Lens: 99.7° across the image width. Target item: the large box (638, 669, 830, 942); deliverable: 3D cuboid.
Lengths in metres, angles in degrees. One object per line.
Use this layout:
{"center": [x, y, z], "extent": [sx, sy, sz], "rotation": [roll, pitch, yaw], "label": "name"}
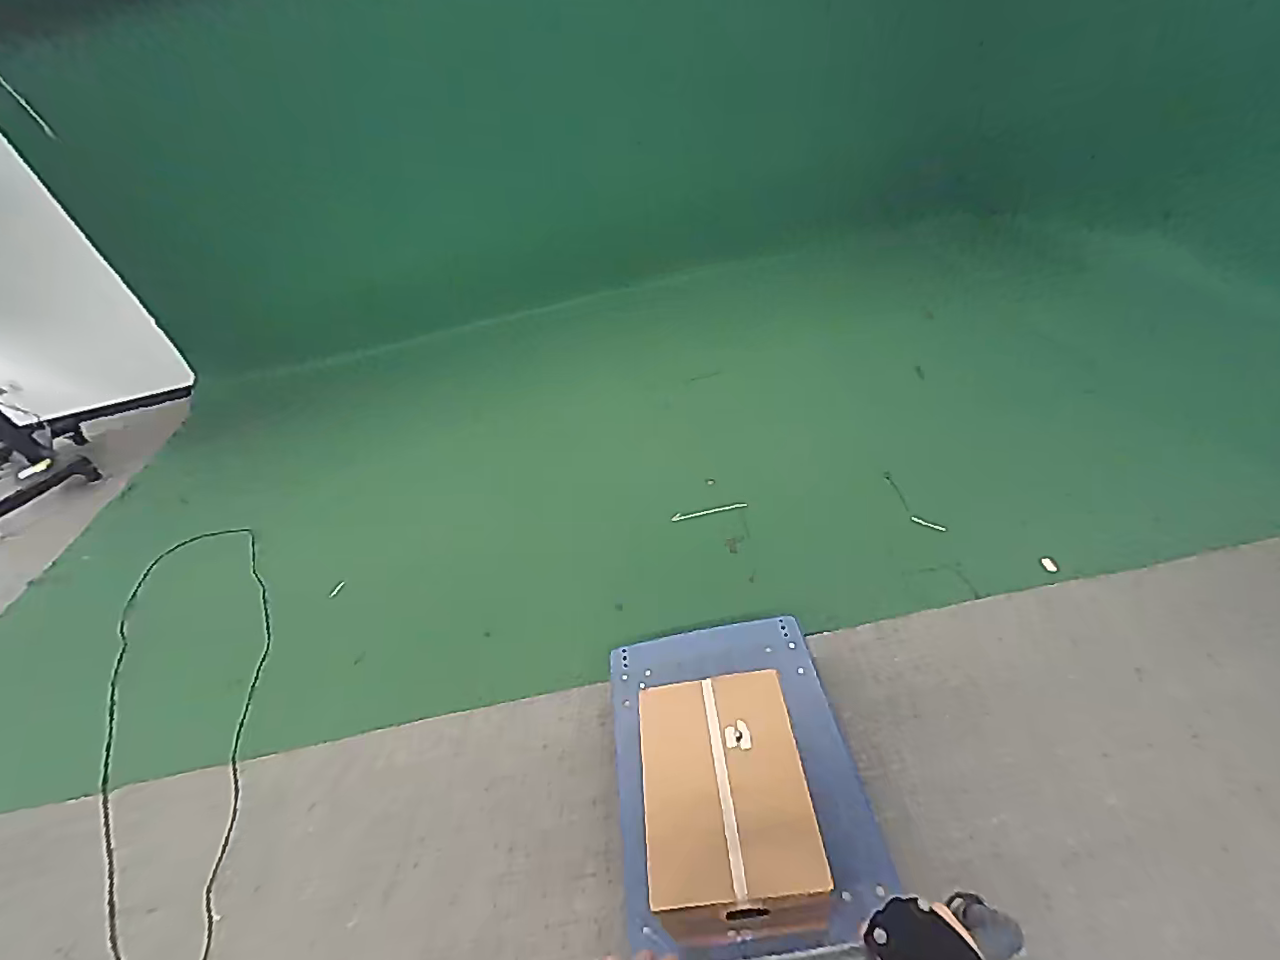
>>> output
{"center": [0.186, 0.687, 1.157], "extent": [0.320, 0.320, 0.408], "rotation": [-10, 40, 4], "label": "large box"}
